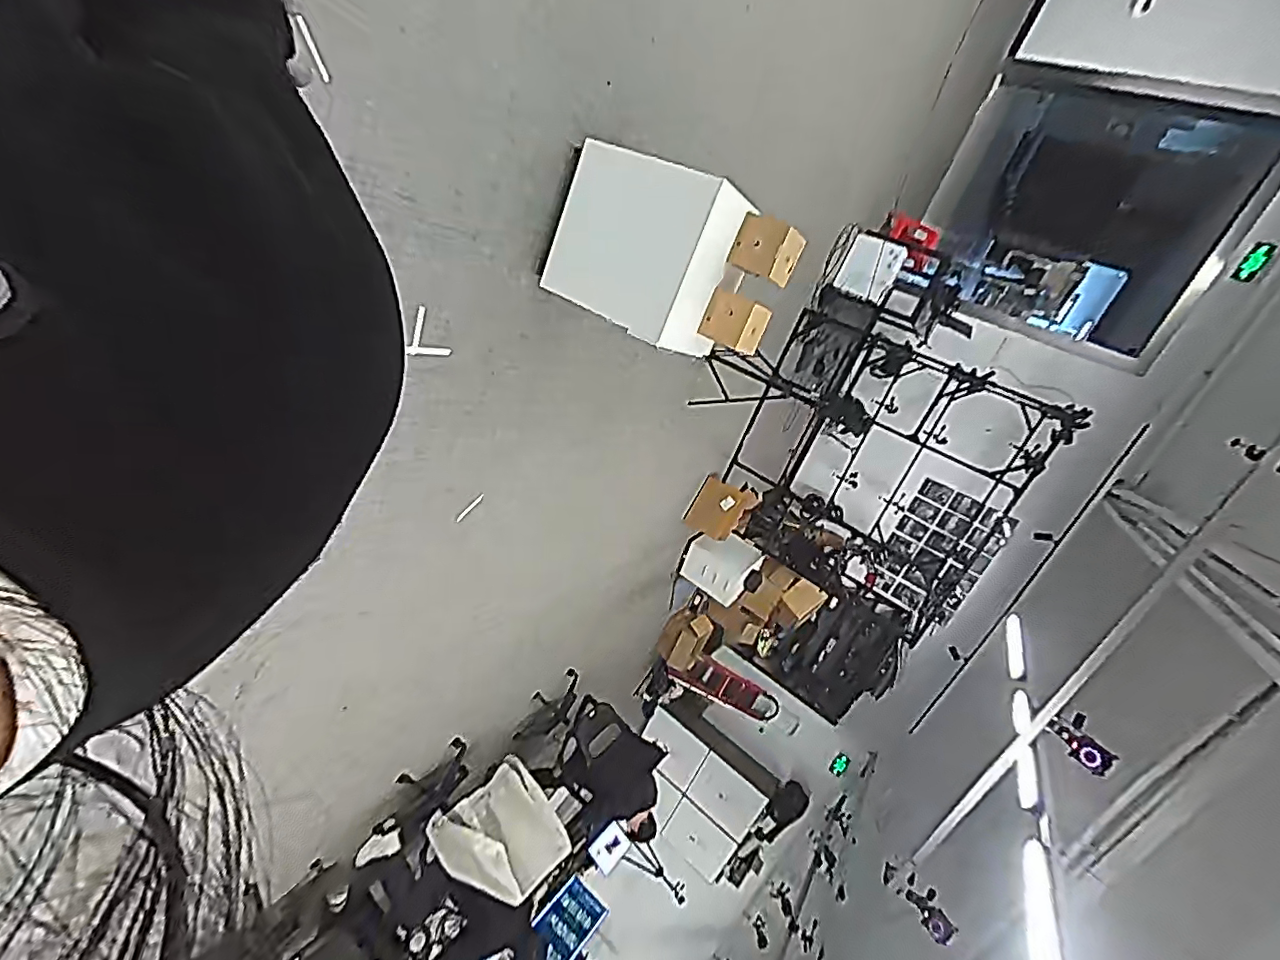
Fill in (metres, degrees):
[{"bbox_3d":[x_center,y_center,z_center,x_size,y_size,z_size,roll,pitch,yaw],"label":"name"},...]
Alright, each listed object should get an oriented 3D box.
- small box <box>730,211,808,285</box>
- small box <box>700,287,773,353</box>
[{"bbox_3d":[0.431,-0.784,1.823,0.179,0.176,0.168,-8,128,-57],"label":"small box"},{"bbox_3d":[0.338,-0.567,1.910,0.179,0.176,0.168,-10,127,-58],"label":"small box"}]
